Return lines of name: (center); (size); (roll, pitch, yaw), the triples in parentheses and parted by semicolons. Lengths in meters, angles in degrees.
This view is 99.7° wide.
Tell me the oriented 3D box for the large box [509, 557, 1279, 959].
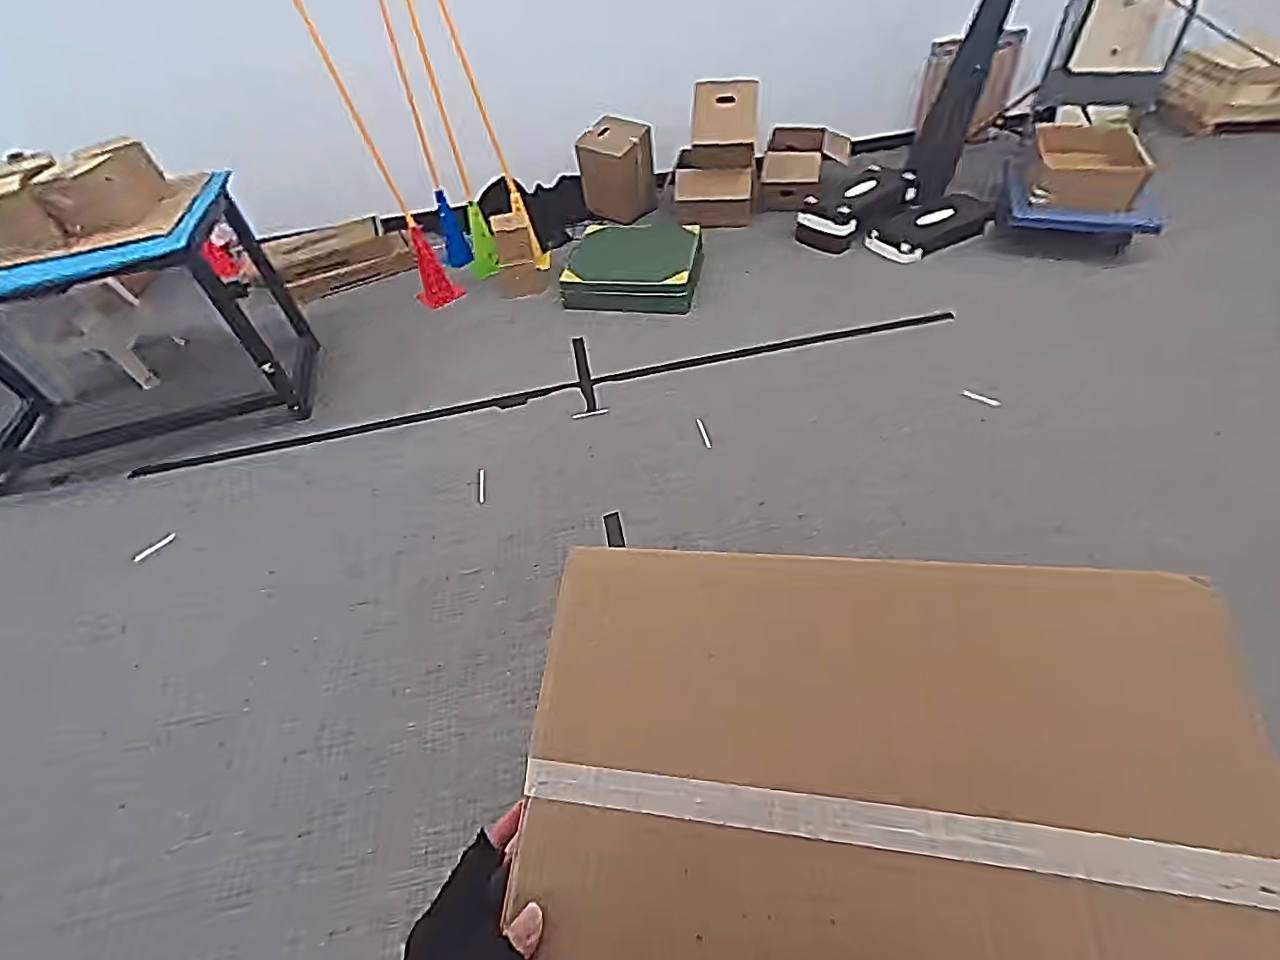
large box: (0.154, 0.265, 0.442); (0.408, 0.320, 0.320); (0, 63, 13)
